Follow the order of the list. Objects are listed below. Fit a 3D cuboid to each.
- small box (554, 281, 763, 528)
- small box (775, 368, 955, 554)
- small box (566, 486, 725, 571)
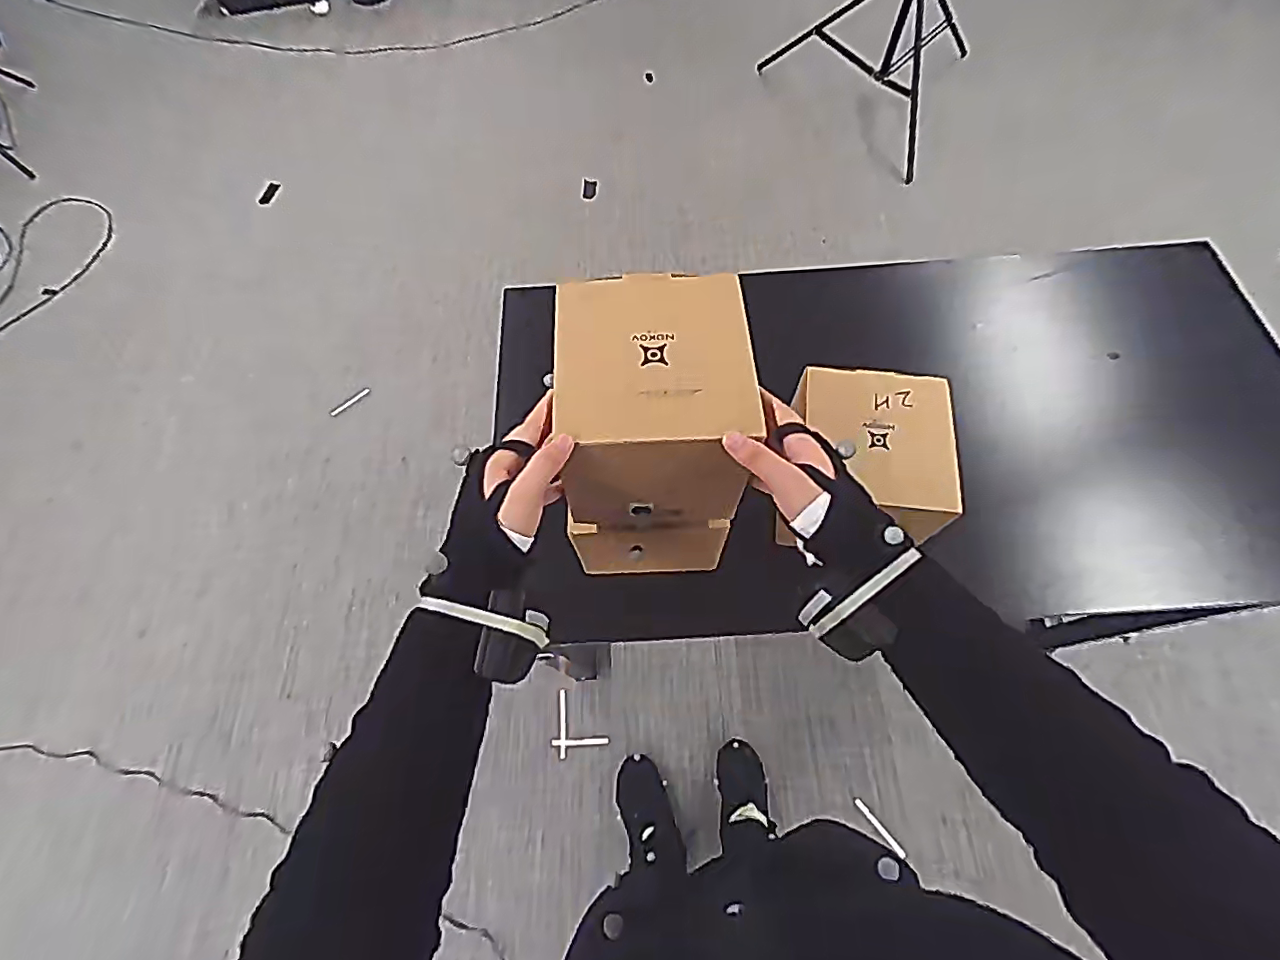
[{"bbox_3d":[0.011,-0.067,0.526,0.168,0.176,0.179,-2,63,-1],"label":"small box"},{"bbox_3d":[0.271,-0.016,0.689,0.168,0.176,0.179,7,65,5],"label":"small box"},{"bbox_3d":[0.010,0.014,0.687,0.179,0.176,0.168,-3,65,2],"label":"small box"}]
